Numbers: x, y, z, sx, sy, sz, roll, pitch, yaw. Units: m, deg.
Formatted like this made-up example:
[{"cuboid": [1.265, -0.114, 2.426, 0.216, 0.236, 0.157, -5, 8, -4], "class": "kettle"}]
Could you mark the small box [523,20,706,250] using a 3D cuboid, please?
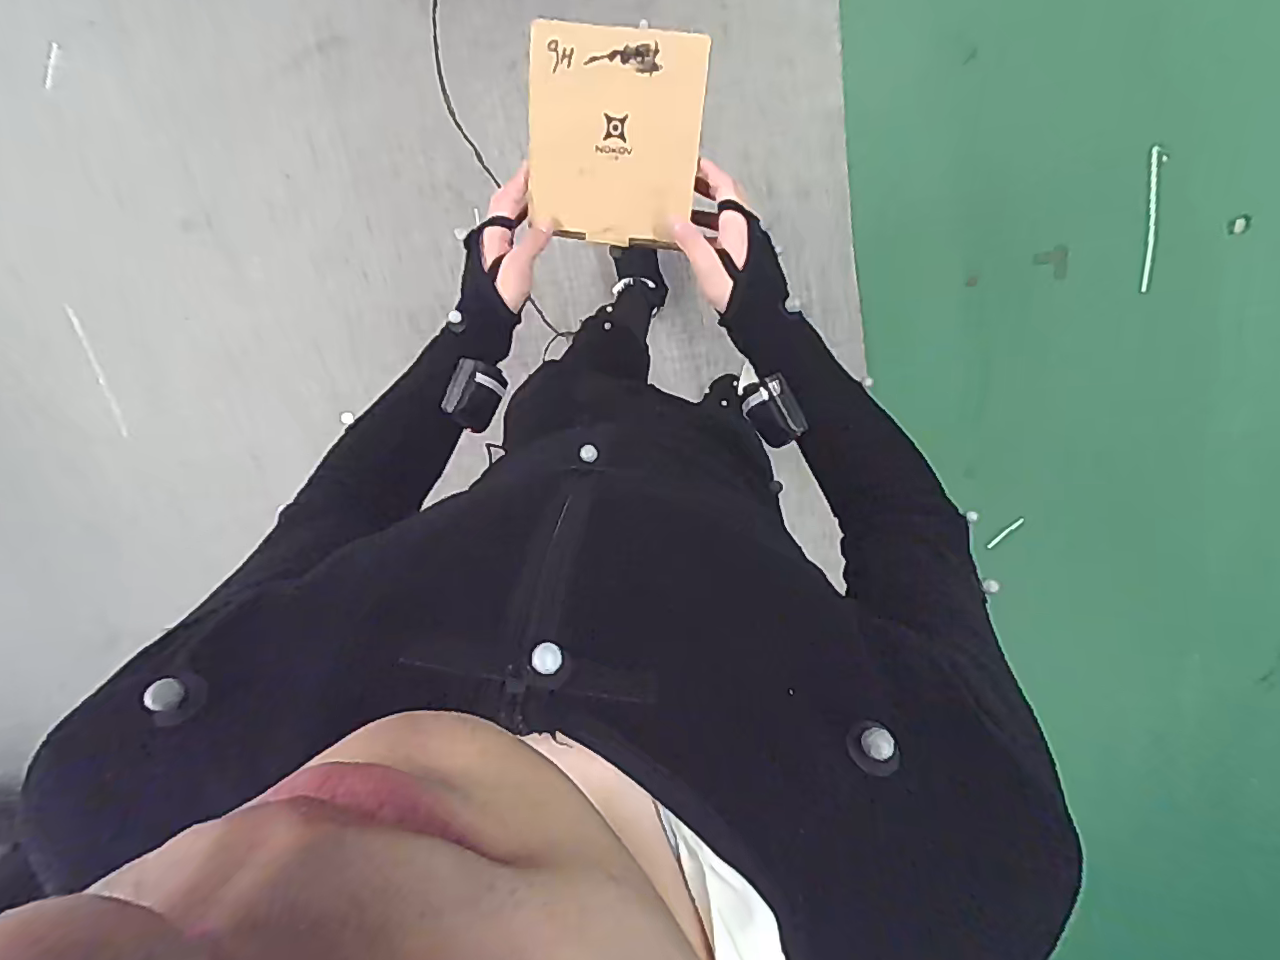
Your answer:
[{"cuboid": [-0.024, -0.355, 0.590, 0.168, 0.176, 0.179, 7, 113, 1], "class": "small box"}]
